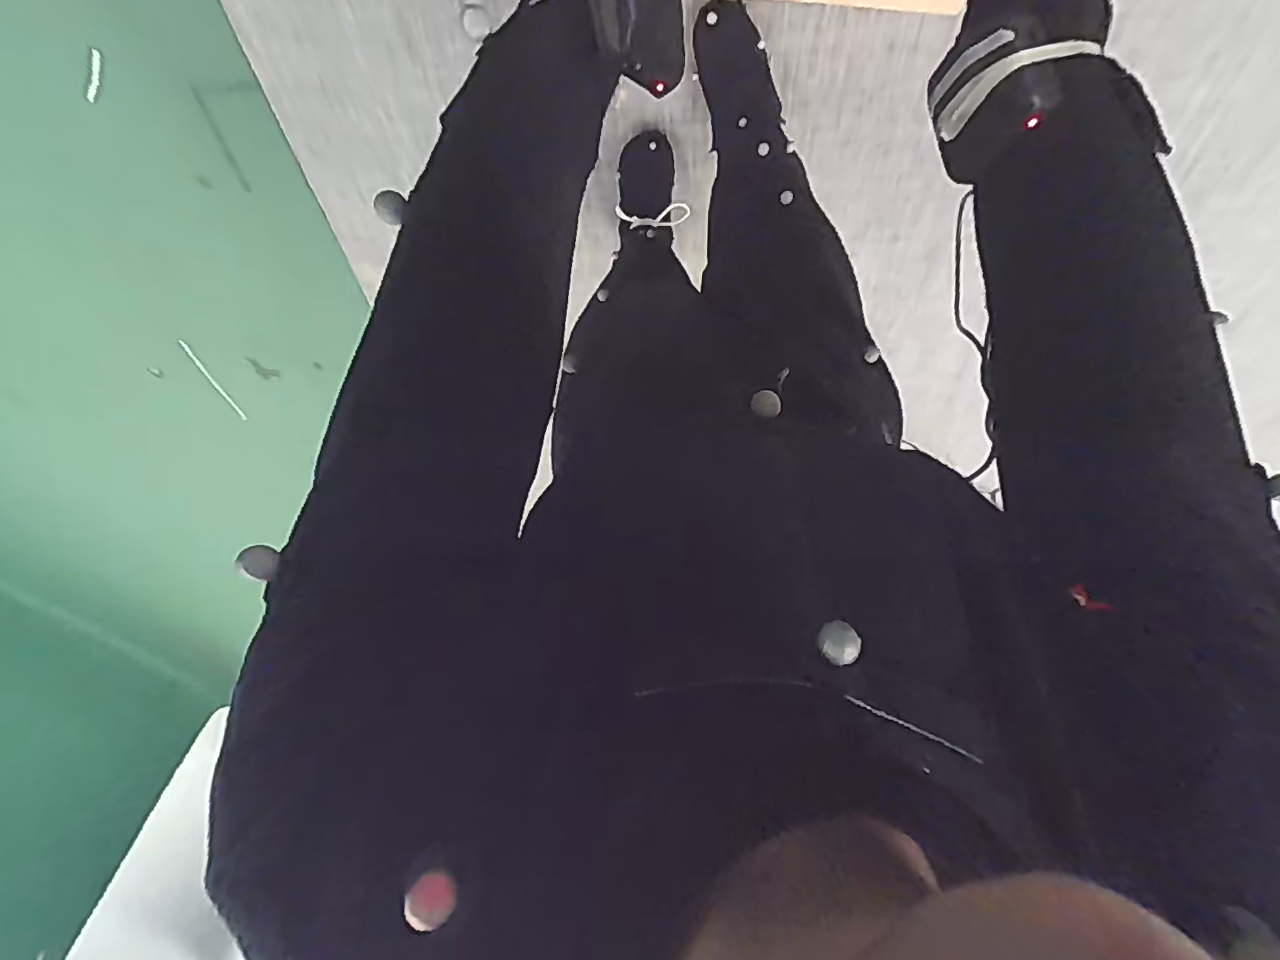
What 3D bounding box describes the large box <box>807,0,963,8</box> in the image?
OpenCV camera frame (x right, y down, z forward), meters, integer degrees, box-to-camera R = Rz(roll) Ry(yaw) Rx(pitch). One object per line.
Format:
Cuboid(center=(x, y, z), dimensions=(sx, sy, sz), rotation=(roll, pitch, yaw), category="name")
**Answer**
Cuboid(center=(0.197, -0.781, 0.620), dimensions=(0.408, 0.320, 0.320), rotation=(5, 141, 1), category="large box")
